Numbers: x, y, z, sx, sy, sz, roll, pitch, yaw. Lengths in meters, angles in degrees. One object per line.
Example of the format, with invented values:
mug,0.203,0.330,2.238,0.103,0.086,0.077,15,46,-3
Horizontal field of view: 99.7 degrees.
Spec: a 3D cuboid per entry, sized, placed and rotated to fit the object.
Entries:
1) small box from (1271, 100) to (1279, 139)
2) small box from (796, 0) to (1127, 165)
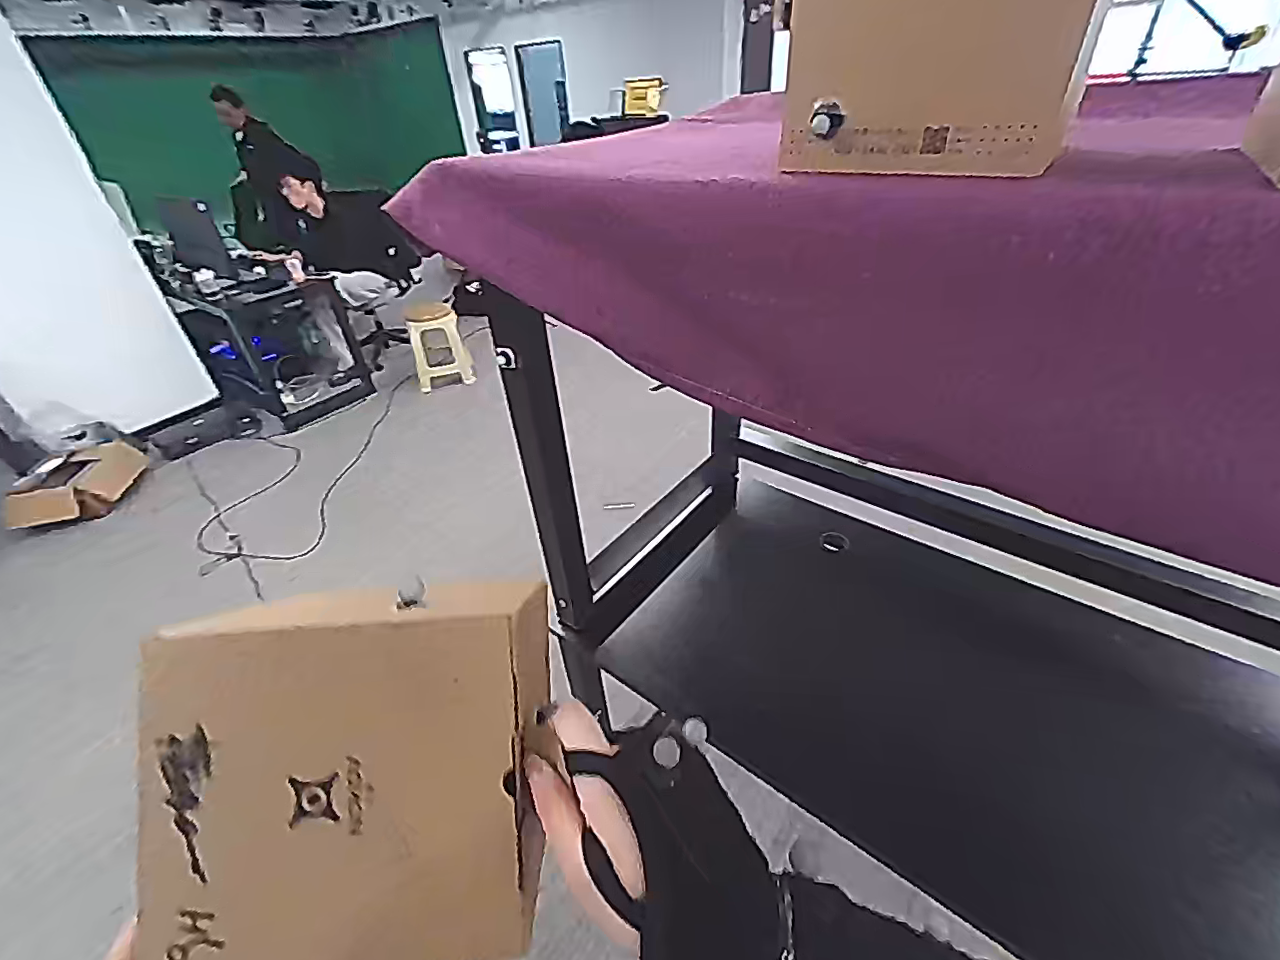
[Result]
small box,0.414,-0.223,0.212,0.168,0.176,0.179,21,43,31
small box,0.213,-0.310,0.352,0.168,0.176,0.179,21,43,30
